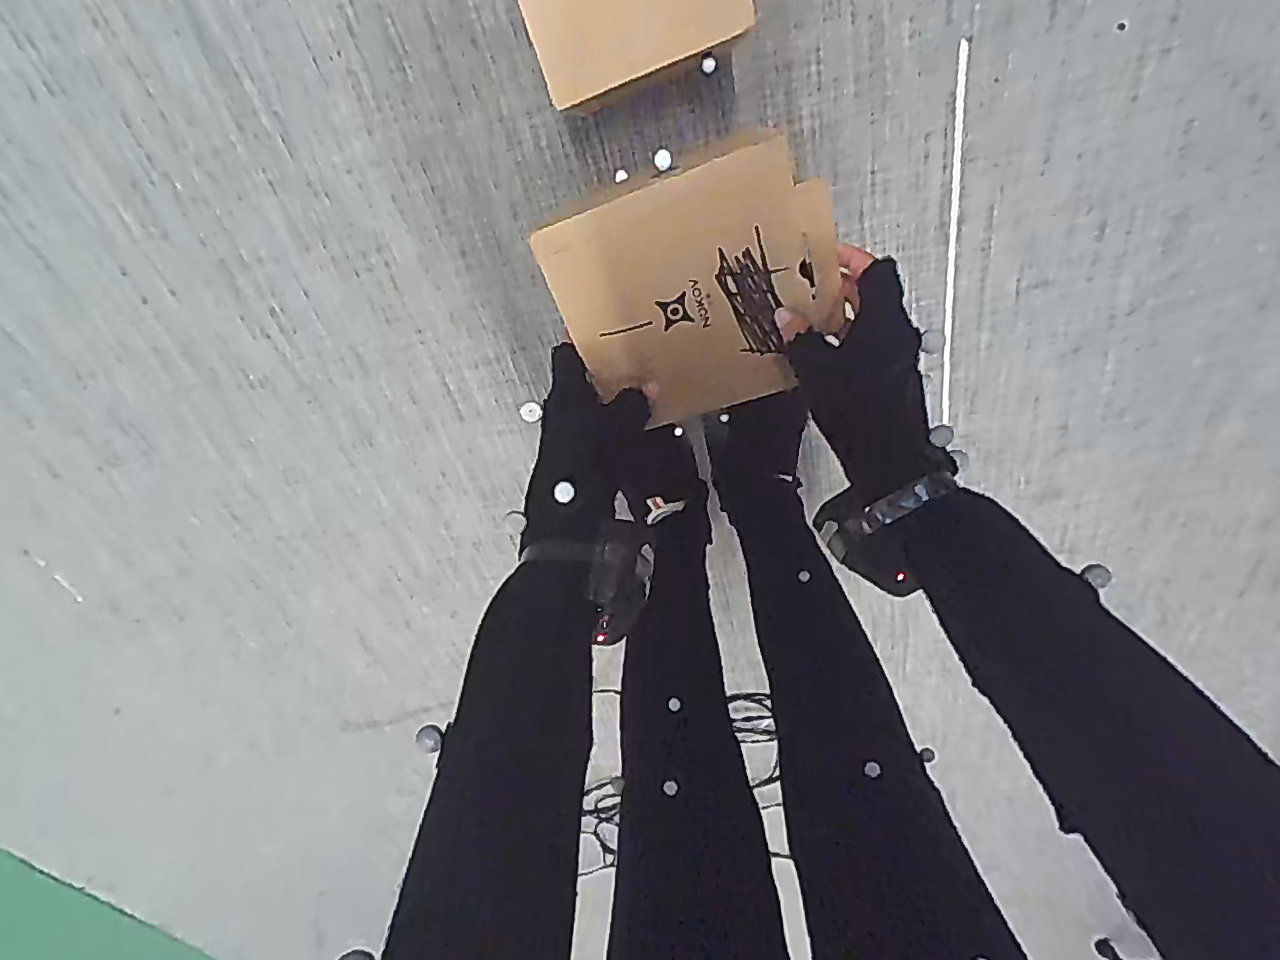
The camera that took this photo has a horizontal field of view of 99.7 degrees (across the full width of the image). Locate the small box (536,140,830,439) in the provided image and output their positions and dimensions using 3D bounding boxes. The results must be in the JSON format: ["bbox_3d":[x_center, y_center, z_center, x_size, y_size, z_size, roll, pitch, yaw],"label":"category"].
[{"bbox_3d":[0.038,-0.163,0.450,0.179,0.176,0.168,-16,121,13],"label":"small box"}]

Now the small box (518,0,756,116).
[{"bbox_3d":[-0.012,-0.441,0.472,0.179,0.176,0.168,-16,121,10],"label":"small box"}]
